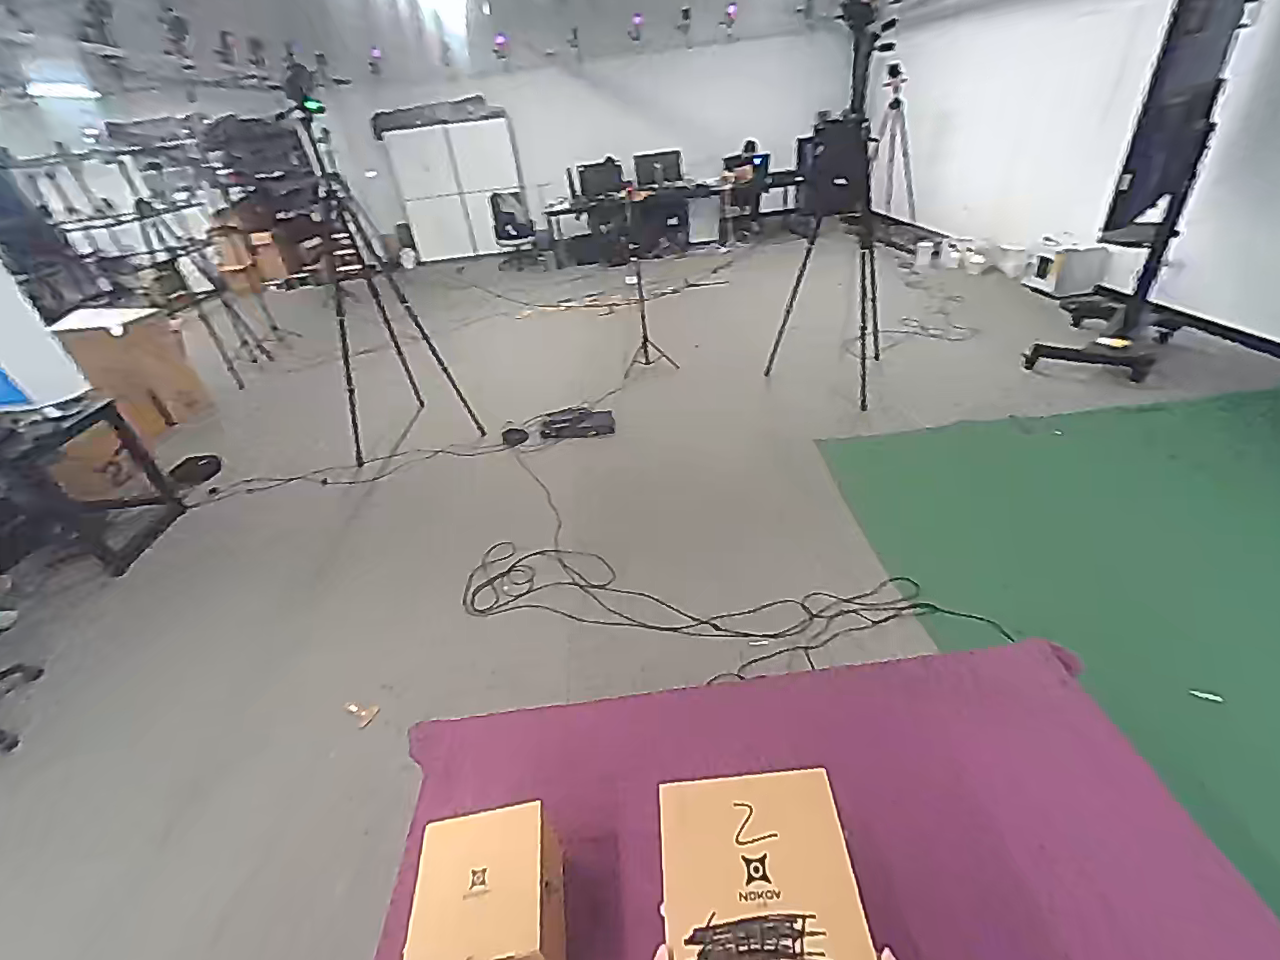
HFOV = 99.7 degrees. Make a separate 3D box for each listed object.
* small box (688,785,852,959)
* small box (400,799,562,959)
[{"bbox_3d":[0.159,0.544,0.717,0.168,0.176,0.179,-9,34,-1],"label":"small box"},{"bbox_3d":[-0.203,0.579,0.740,0.168,0.176,0.179,-9,35,-4],"label":"small box"}]
